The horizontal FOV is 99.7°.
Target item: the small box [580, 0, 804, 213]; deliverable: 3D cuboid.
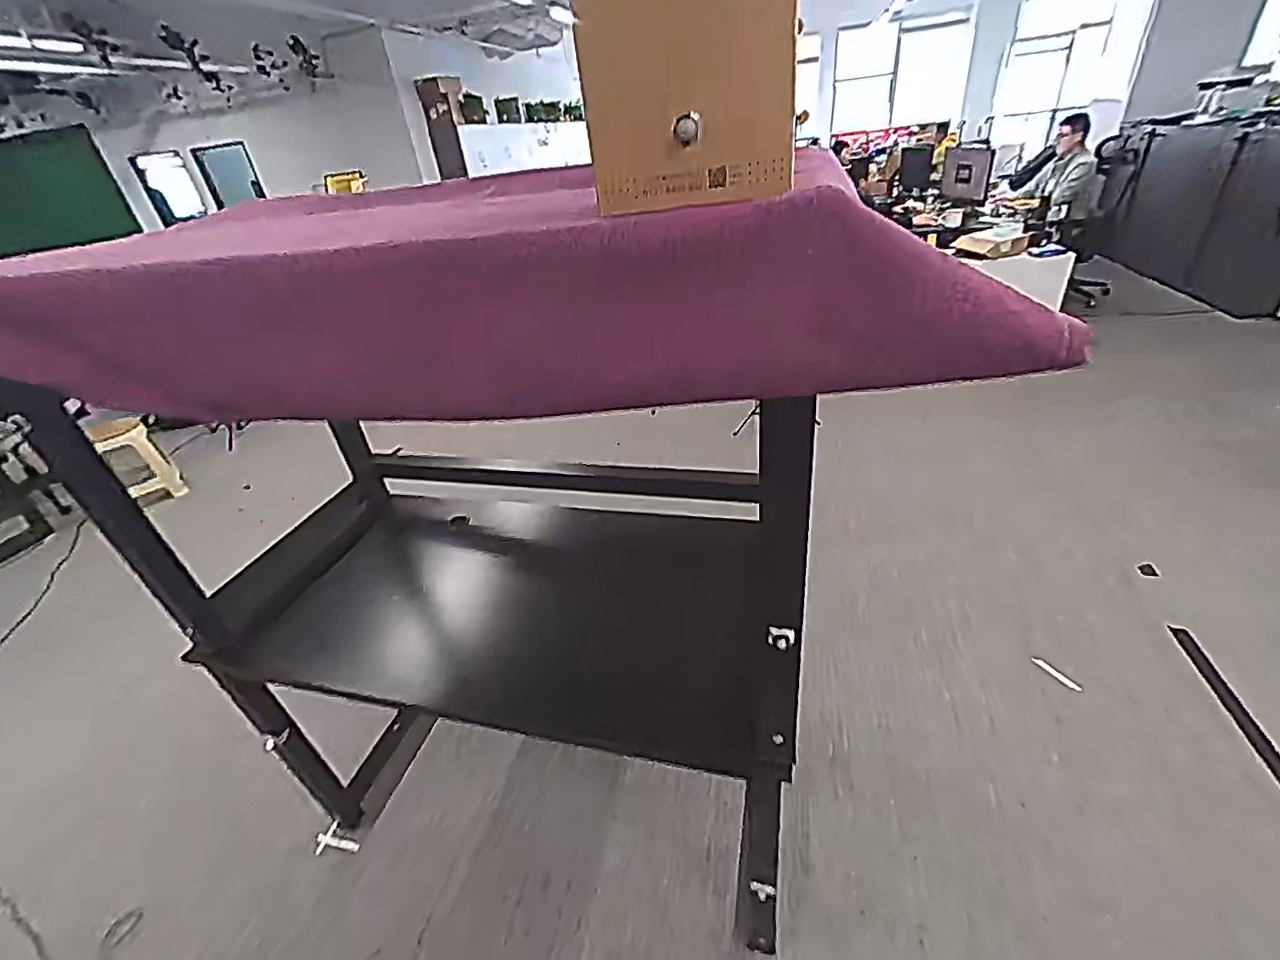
[{"bbox_3d":[0.052,-0.344,0.486,0.168,0.176,0.179,-2,31,10],"label":"small box"}]
